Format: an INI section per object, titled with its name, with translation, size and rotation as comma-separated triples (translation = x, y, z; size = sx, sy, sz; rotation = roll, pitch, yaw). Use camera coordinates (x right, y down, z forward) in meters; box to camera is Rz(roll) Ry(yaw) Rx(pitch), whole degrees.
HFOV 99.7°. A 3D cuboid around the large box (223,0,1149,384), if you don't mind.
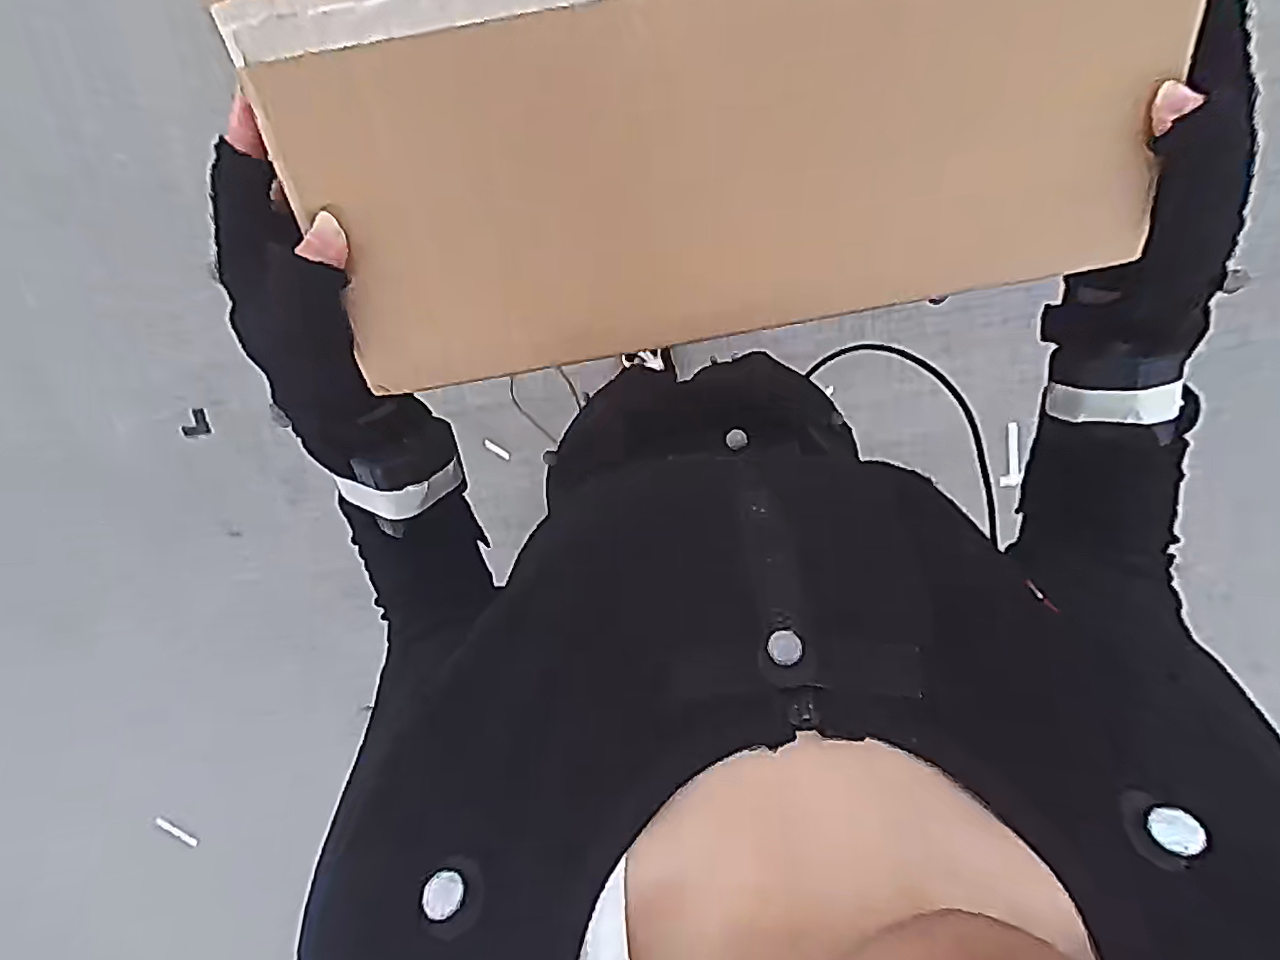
[large box]
translation = 0.018, -0.290, 0.356
size = 0.408, 0.320, 0.320
rotation = -10, 116, 2
